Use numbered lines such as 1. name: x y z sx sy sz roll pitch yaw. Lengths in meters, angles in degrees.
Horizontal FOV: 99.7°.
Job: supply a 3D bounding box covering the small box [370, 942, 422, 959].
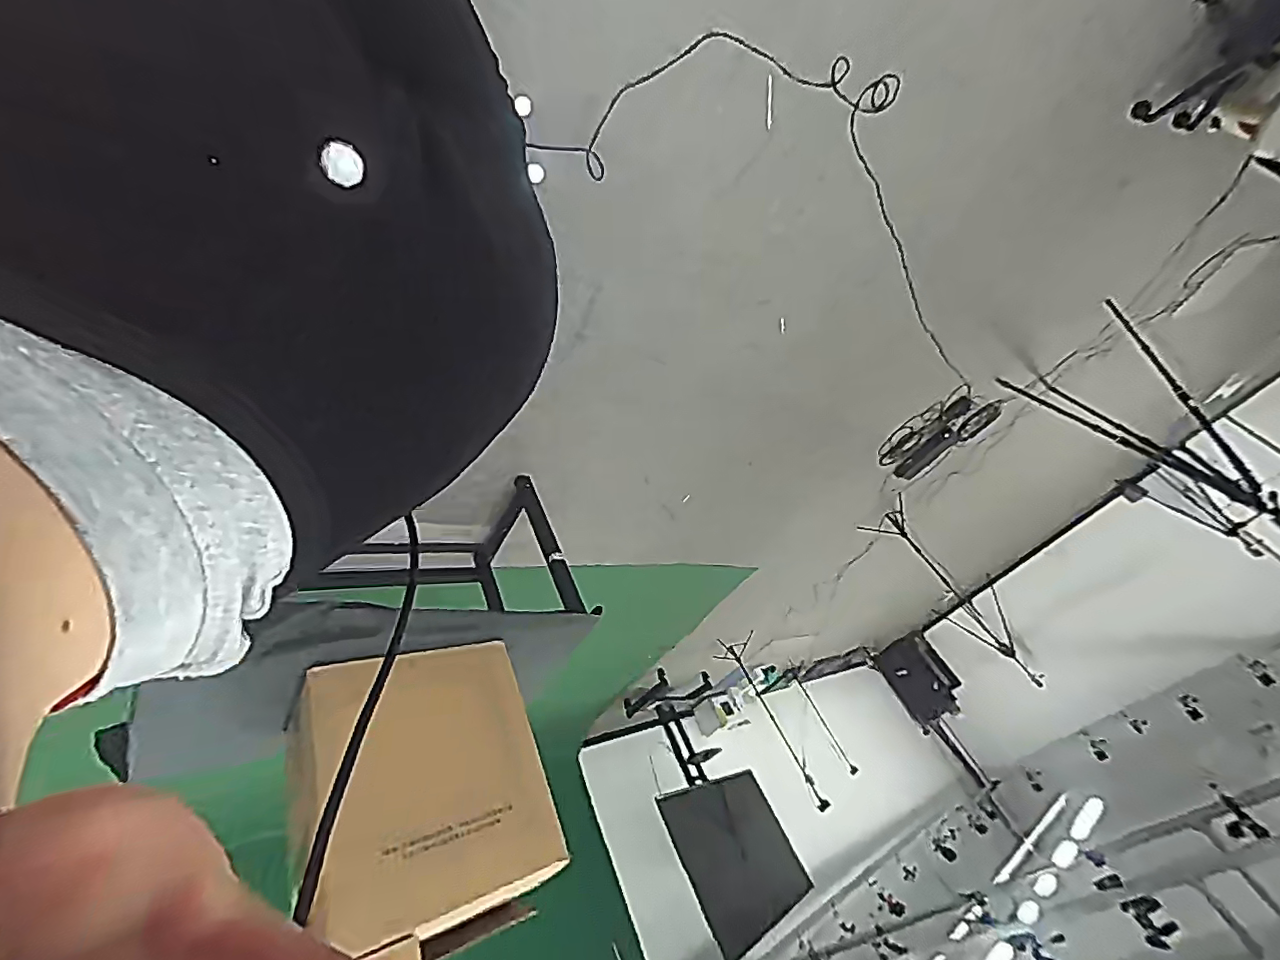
1. small box: -0.523 1.058 1.065 0.168 0.176 0.179 4 132 -39
